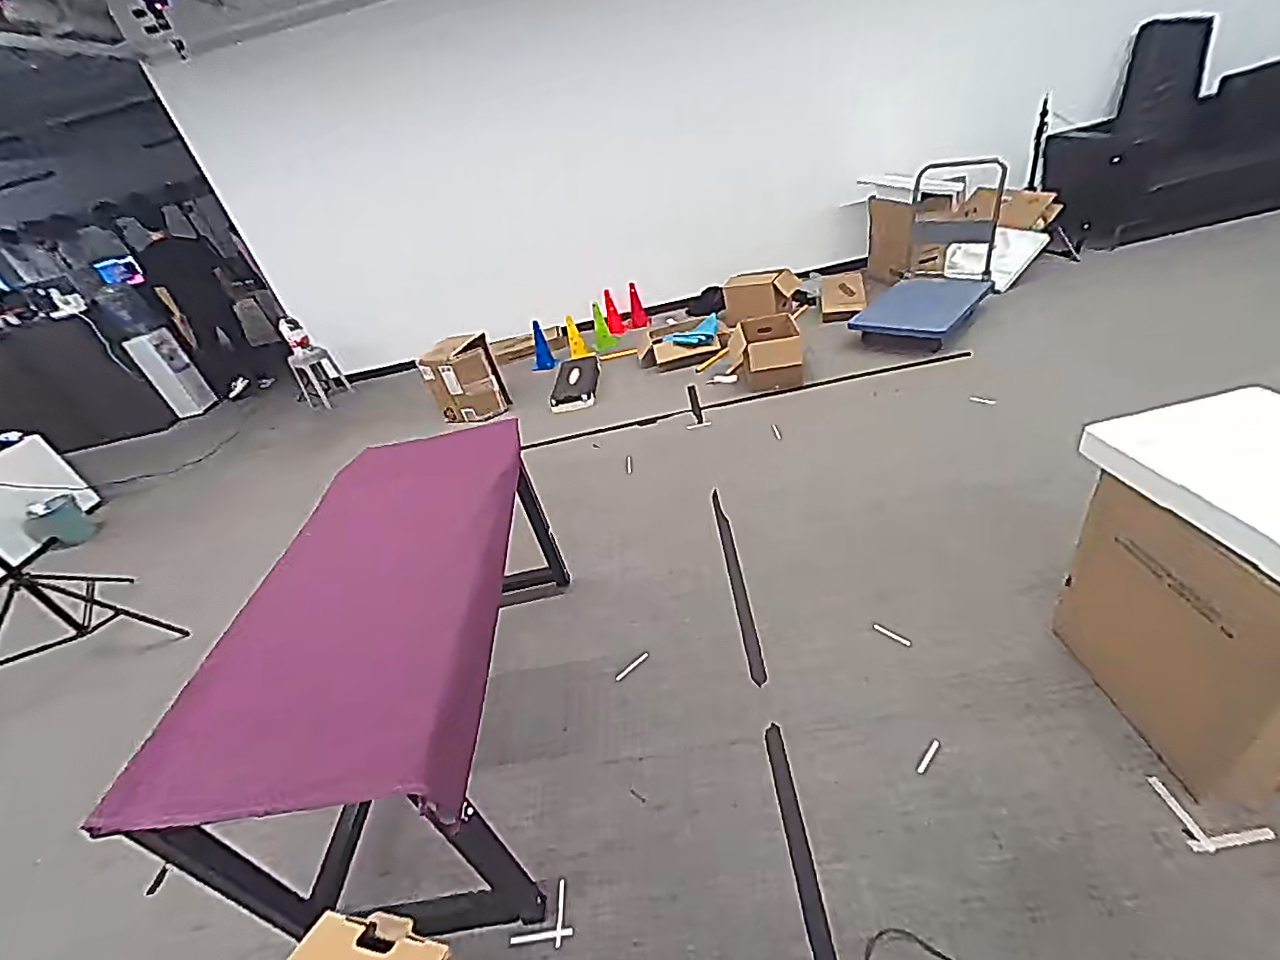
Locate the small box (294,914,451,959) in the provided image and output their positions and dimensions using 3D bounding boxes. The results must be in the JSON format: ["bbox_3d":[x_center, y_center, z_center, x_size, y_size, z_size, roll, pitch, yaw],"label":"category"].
[{"bbox_3d":[-0.256,0.548,0.478,0.168,0.176,0.179,-5,18,22],"label":"small box"}]
